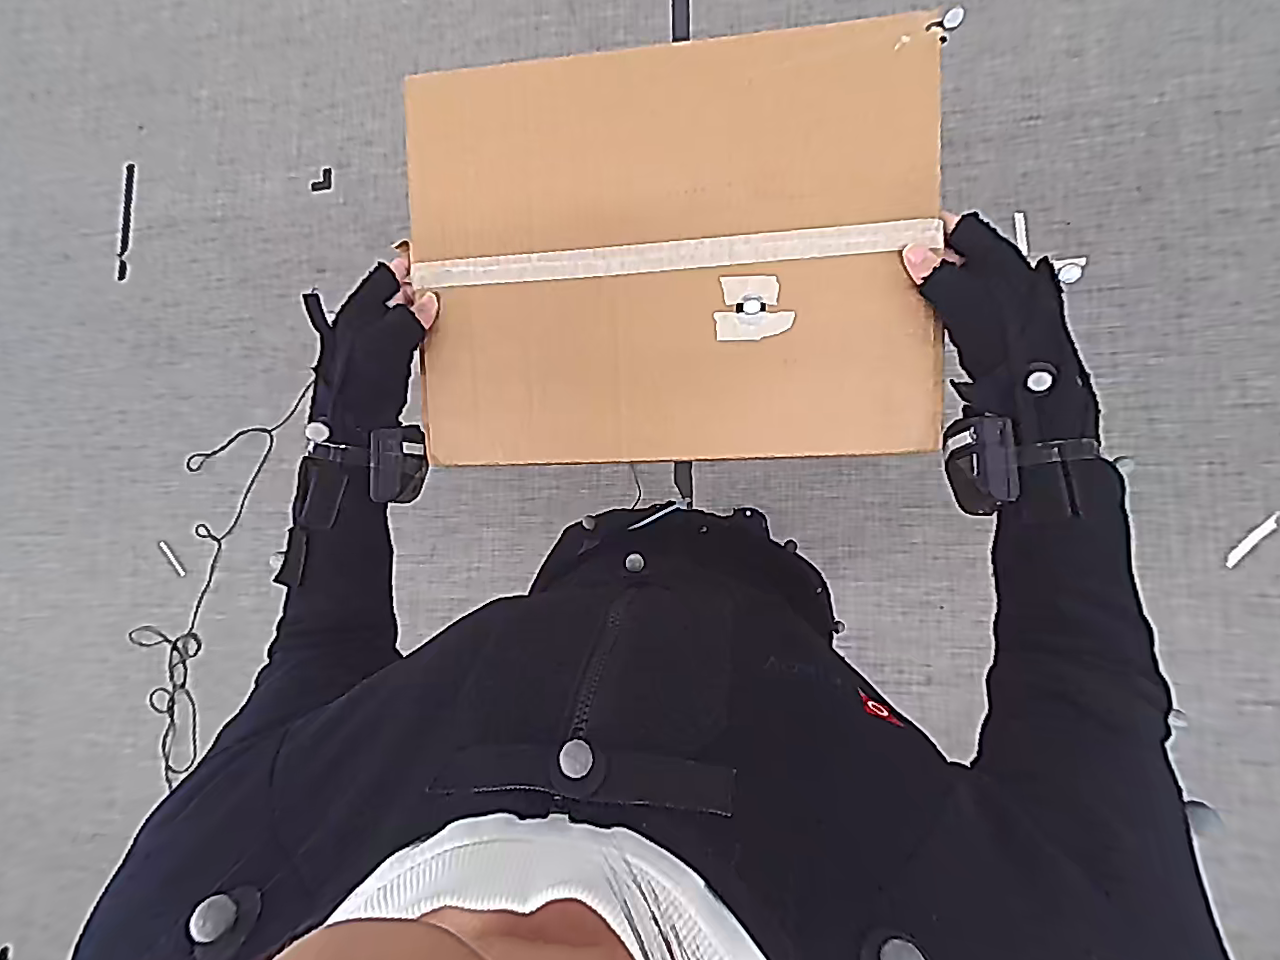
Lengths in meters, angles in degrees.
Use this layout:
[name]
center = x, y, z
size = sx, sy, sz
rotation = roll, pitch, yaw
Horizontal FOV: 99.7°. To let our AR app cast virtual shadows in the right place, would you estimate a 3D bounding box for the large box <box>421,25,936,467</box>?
[large box]
center = 0.038, -0.183, 0.577
size = 0.408, 0.320, 0.320
rotation = -2, 94, 7
